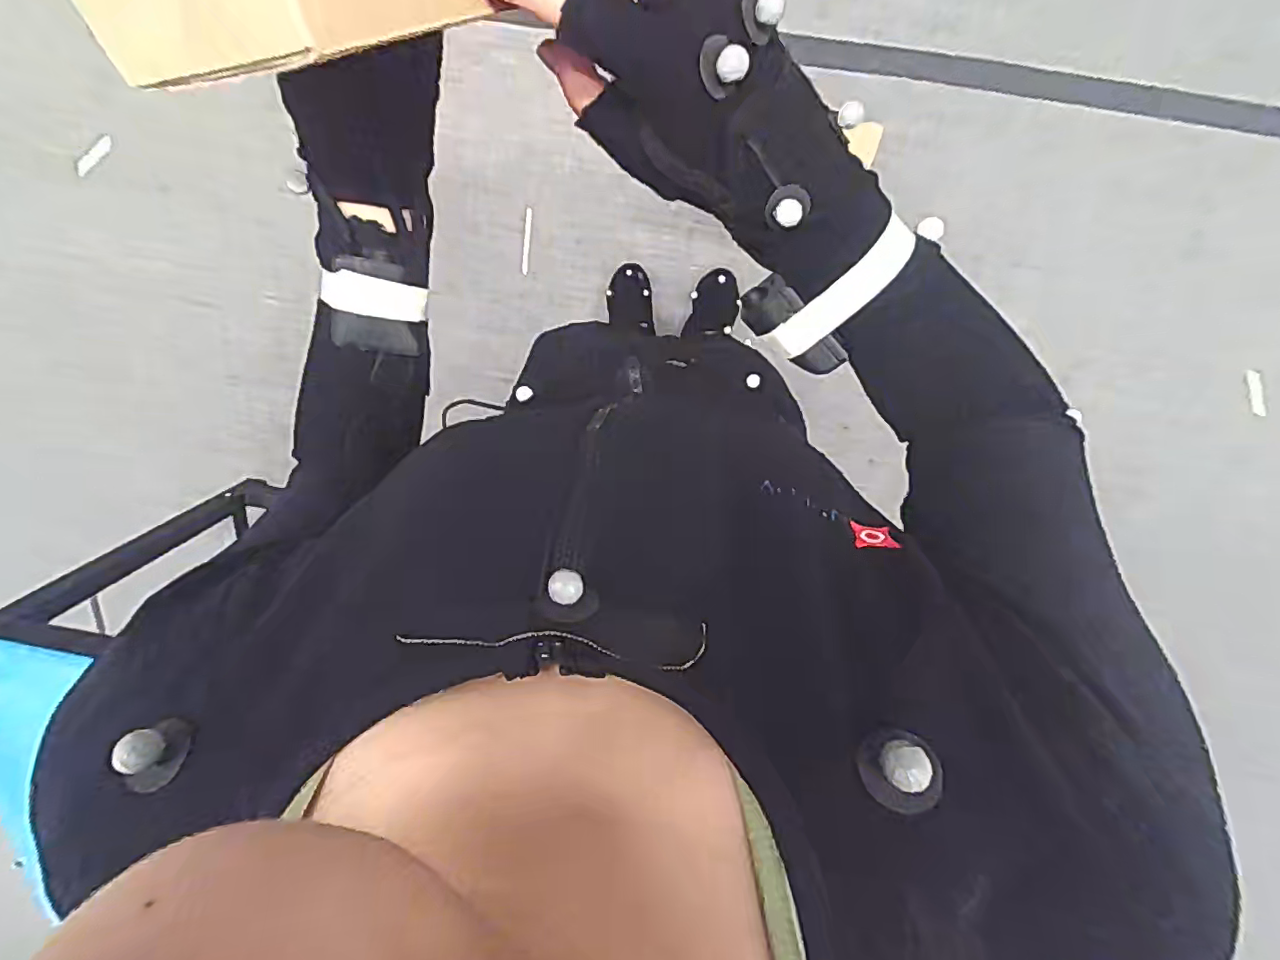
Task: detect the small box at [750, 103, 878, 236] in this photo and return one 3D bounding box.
[{"bbox_3d":[0.311,-0.570,1.014,0.168,0.176,0.179,14,115,0],"label":"small box"}]
